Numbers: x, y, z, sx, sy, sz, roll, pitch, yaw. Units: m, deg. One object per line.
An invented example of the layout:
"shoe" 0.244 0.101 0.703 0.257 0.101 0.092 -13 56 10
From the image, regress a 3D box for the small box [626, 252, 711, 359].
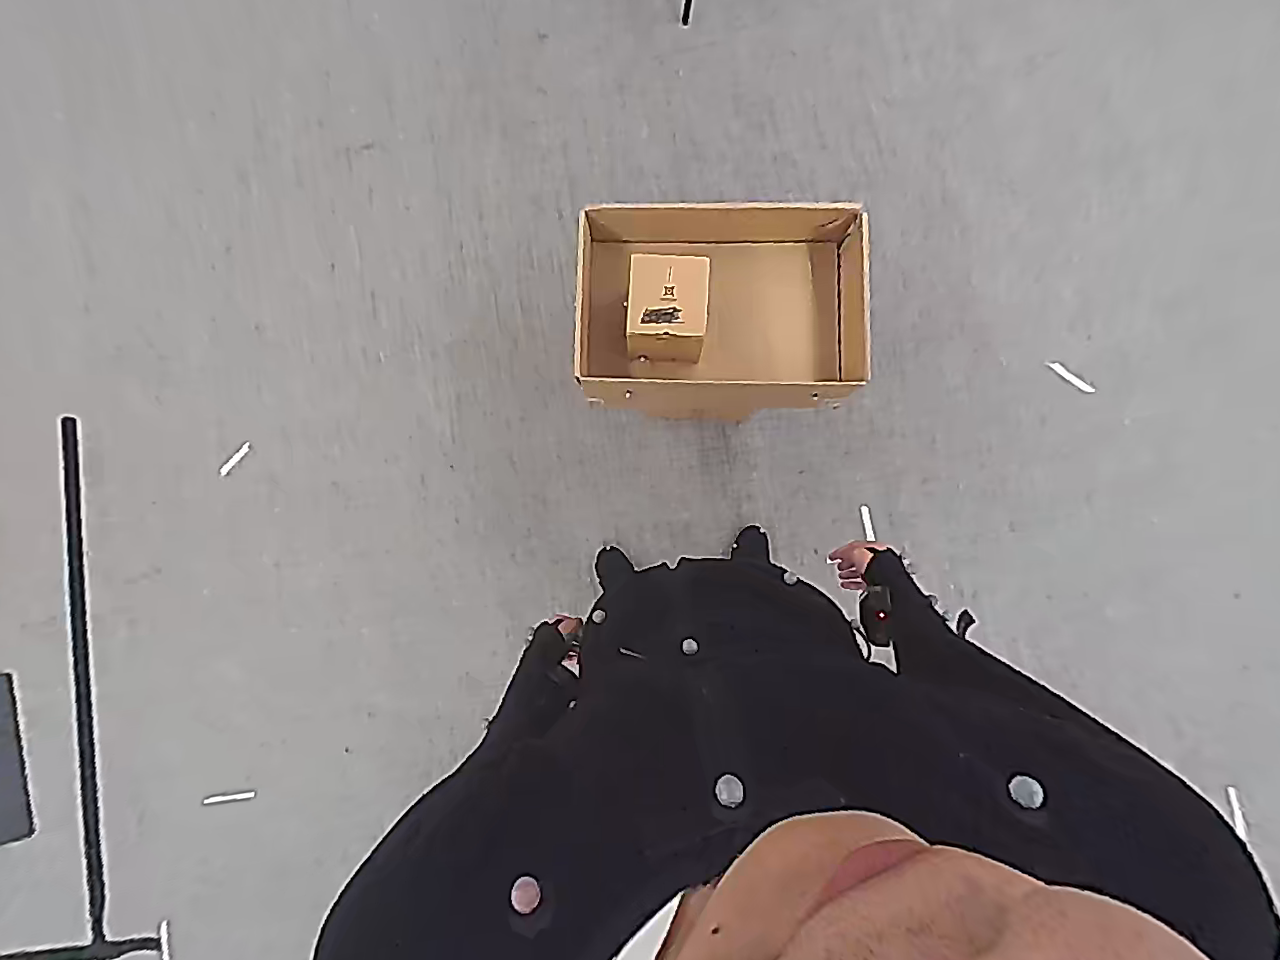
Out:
"small box" 0.061 -0.375 1.189 0.168 0.176 0.179 4 84 1
